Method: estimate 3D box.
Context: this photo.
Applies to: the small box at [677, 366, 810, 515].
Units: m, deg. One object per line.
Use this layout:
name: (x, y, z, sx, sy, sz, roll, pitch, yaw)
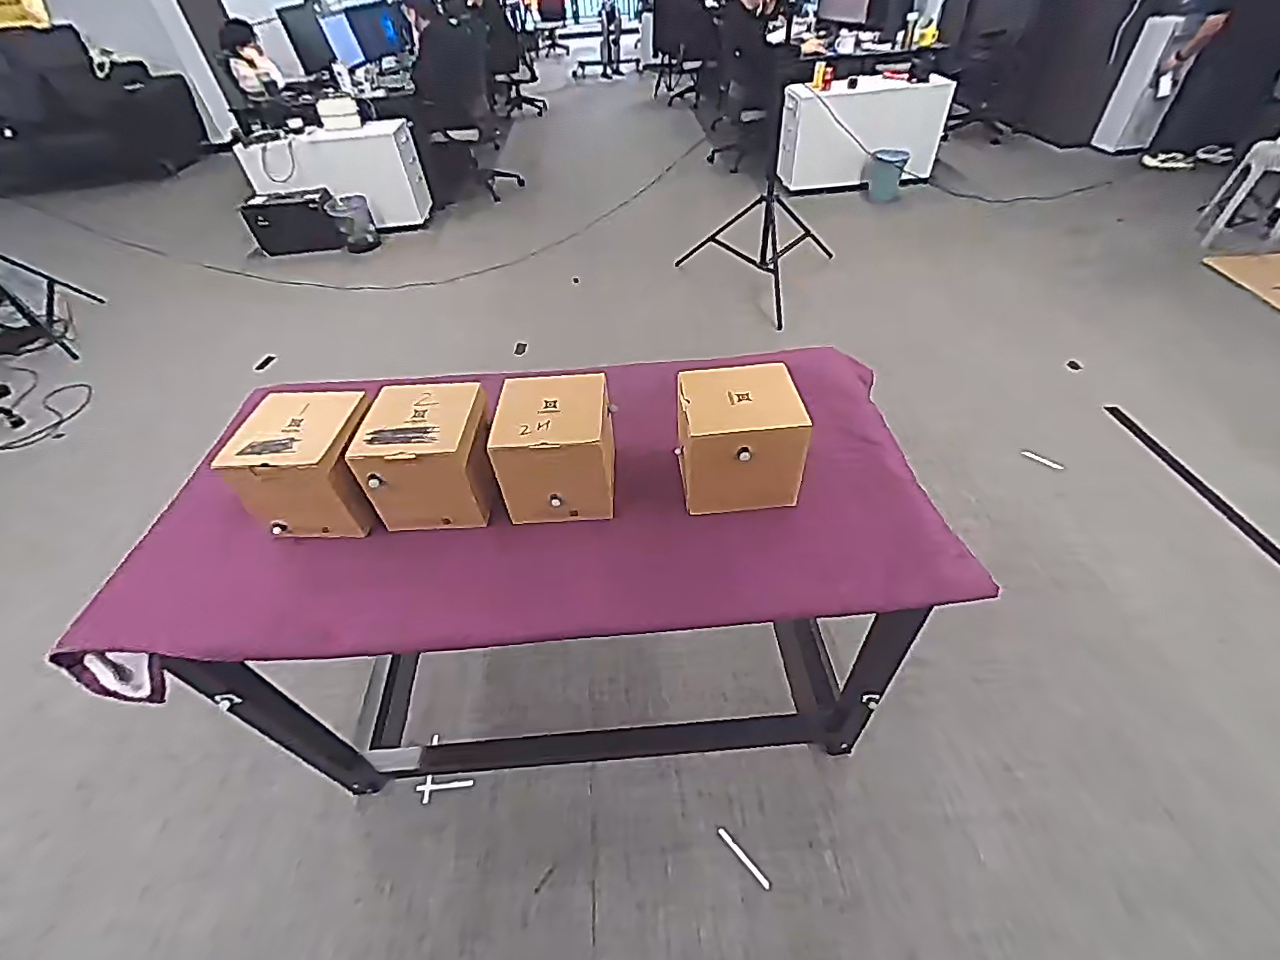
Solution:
small box: (0.154, -0.062, 0.873, 0.179, 0.176, 0.168, -6, 43, 0)
